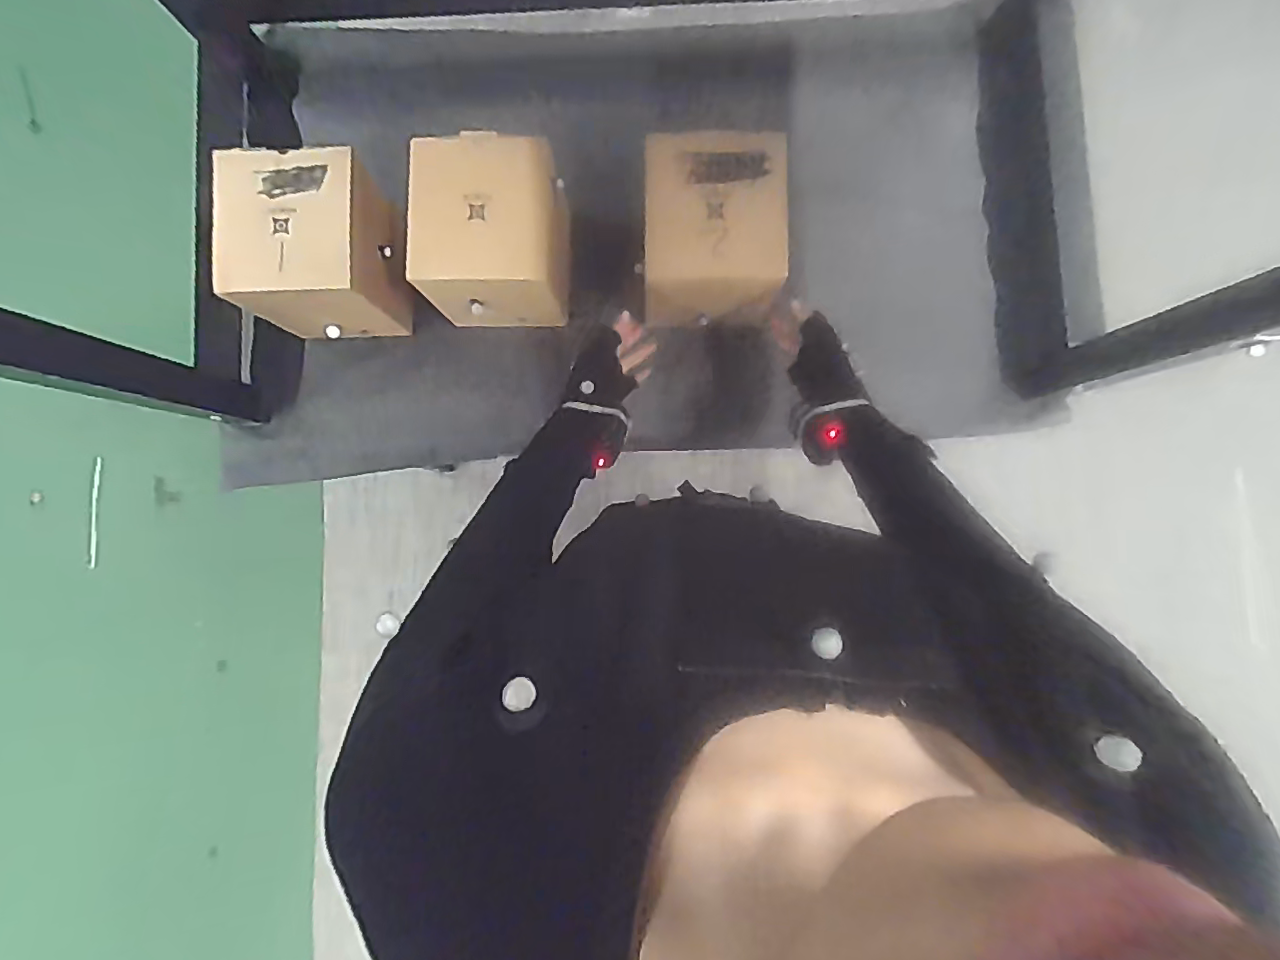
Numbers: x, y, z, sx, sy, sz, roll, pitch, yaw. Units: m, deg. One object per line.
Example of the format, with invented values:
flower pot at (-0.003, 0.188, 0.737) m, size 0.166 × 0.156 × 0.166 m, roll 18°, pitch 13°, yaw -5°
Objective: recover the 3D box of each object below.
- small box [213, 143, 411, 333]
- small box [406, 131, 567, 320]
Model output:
small box at (-0.417, -0.308, 0.716) m, size 0.168 × 0.176 × 0.179 m, roll -1°, pitch 87°, yaw 1°
small box at (-0.190, -0.322, 0.716) m, size 0.168 × 0.176 × 0.179 m, roll 0°, pitch 86°, yaw 1°
